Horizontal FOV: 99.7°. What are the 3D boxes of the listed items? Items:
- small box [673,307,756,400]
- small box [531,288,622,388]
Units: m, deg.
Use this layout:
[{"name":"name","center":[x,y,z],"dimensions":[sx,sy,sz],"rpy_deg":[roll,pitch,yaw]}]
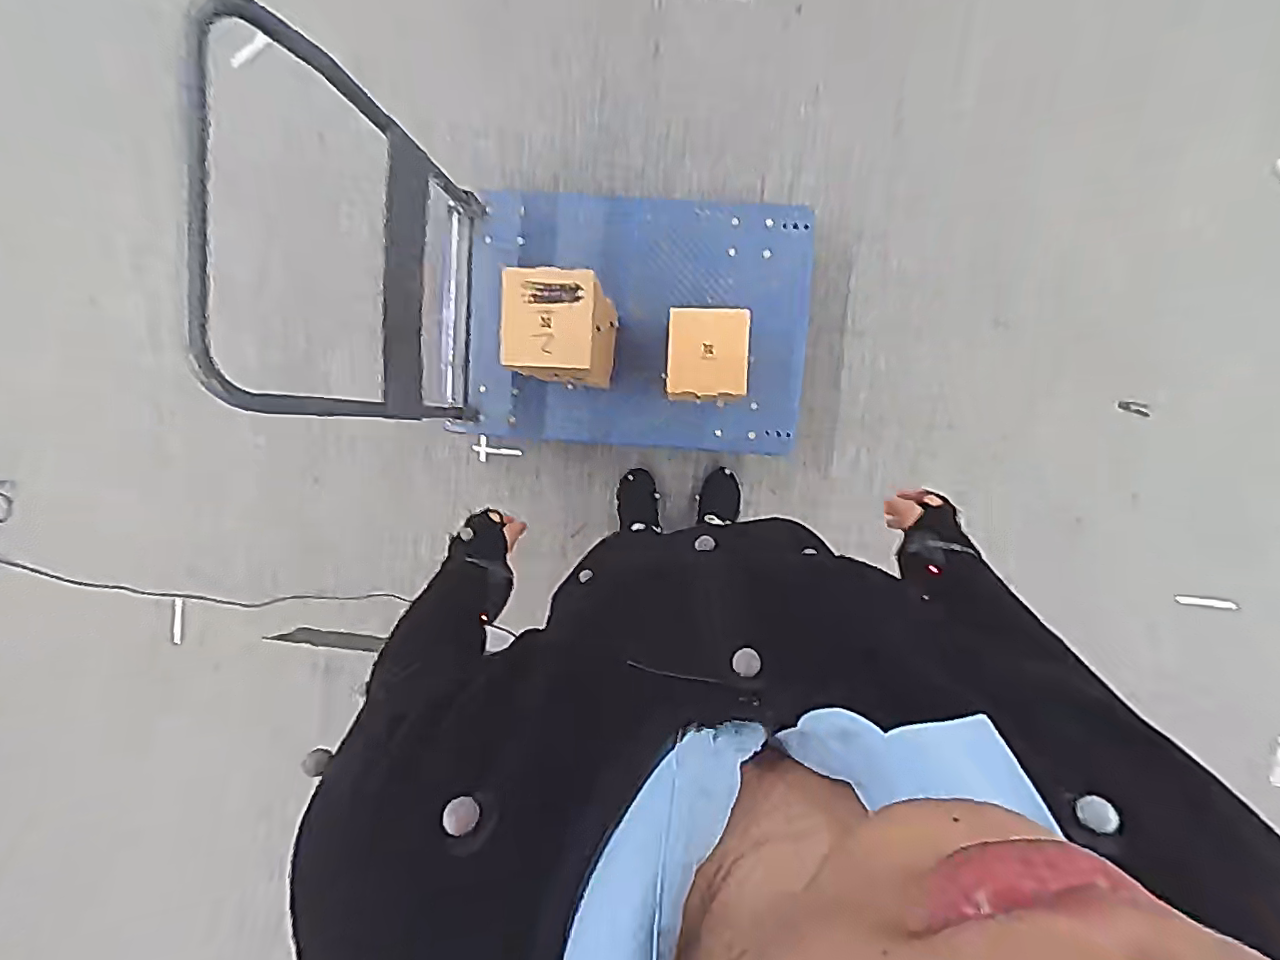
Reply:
[{"name":"small box","center":[0.158,-0.272,1.194],"dimensions":[0.168,0.176,0.179],"rpy_deg":[2,95,3]},{"name":"small box","center":[-0.134,-0.308,1.205],"dimensions":[0.168,0.176,0.179],"rpy_deg":[8,95,3]}]
